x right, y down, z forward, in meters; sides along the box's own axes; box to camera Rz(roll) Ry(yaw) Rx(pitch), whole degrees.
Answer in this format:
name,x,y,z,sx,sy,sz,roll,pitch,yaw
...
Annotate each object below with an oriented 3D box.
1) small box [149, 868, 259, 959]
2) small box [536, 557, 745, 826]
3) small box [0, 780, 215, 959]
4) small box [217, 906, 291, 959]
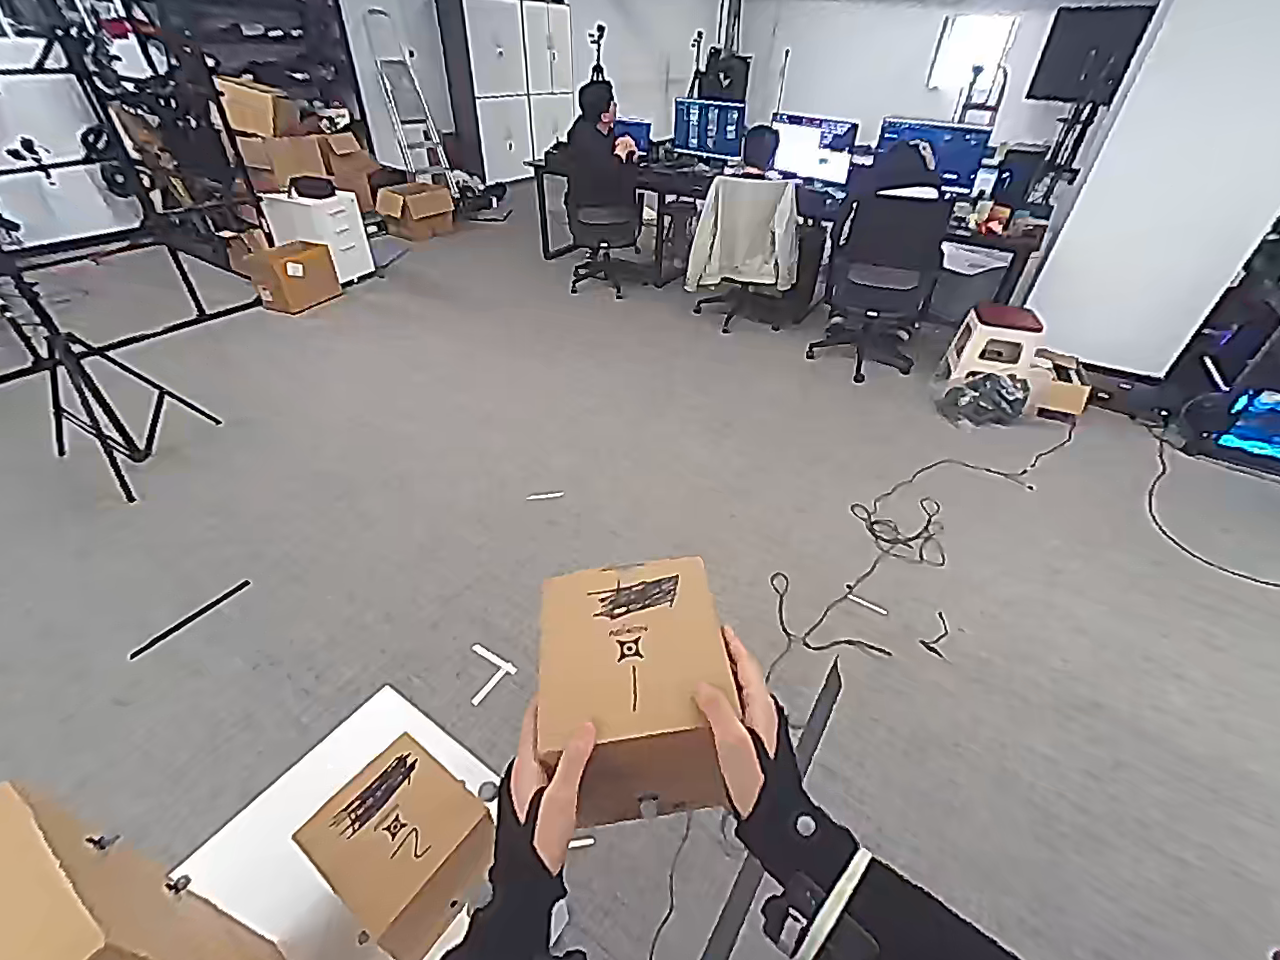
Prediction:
name,x,y,z,sx,sy,sz,roll,pitch,yaw
small box,-0.439,0.483,0.462,0.179,0.176,0.168,23,43,25
small box,0.000,0.204,0.531,0.168,0.176,0.179,-9,40,-1
small box,-0.436,0.355,0.362,0.179,0.176,0.168,23,44,24
small box,-0.445,0.610,0.564,0.179,0.176,0.168,23,43,26
